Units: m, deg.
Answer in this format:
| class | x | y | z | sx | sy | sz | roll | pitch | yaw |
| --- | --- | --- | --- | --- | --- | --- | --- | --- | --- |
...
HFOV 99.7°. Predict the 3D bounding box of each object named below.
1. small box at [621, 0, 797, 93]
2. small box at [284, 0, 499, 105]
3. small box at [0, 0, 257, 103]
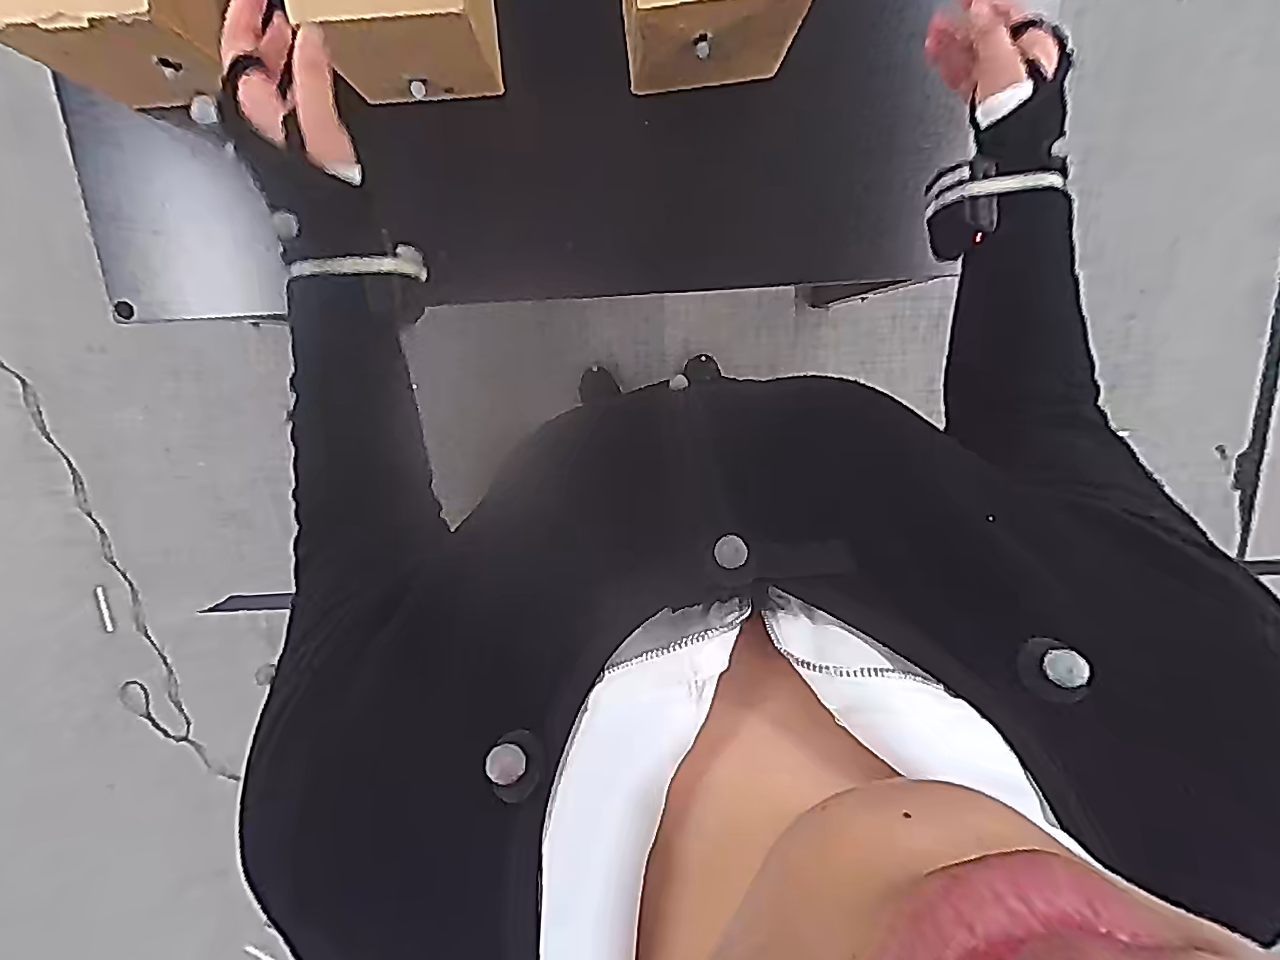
| class | x | y | z | sx | sy | sz | roll | pitch | yaw |
| --- | --- | --- | --- | --- | --- | --- | --- | --- | --- |
| small box | 0.064 | -0.542 | 0.568 | 0.179 | 0.176 | 0.168 | -7 | 103 | 1 |
| small box | -0.253 | -0.529 | 0.563 | 0.168 | 0.176 | 0.179 | -4 | 103 | 0 |
| small box | -0.540 | -0.520 | 0.559 | 0.168 | 0.176 | 0.179 | -6 | 102 | -2 |
